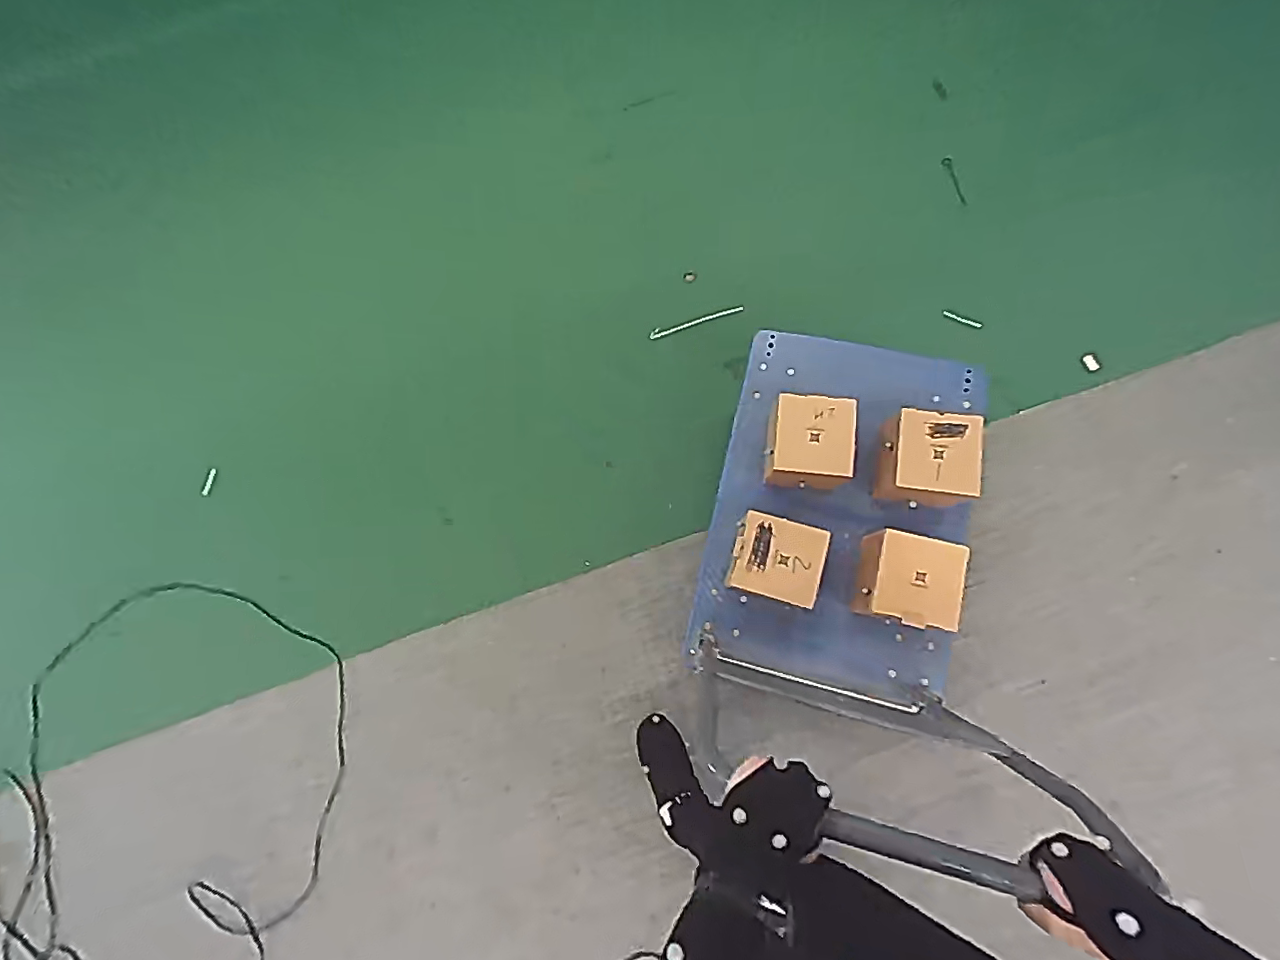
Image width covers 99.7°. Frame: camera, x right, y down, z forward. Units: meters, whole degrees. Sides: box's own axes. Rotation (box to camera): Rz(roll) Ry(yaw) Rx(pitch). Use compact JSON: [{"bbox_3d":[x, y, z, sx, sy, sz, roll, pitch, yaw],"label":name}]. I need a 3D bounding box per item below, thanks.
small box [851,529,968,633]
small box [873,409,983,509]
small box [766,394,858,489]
[{"bbox_3d":[0.570,0.215,1.163,0.168,0.176,0.179,13,81,8],"label":"small box"},{"bbox_3d":[0.635,-0.042,1.207,0.168,0.176,0.179,8,80,8],"label":"small box"},{"bbox_3d":[0.386,-0.082,1.241,0.168,0.176,0.179,7,79,6],"label":"small box"}]
